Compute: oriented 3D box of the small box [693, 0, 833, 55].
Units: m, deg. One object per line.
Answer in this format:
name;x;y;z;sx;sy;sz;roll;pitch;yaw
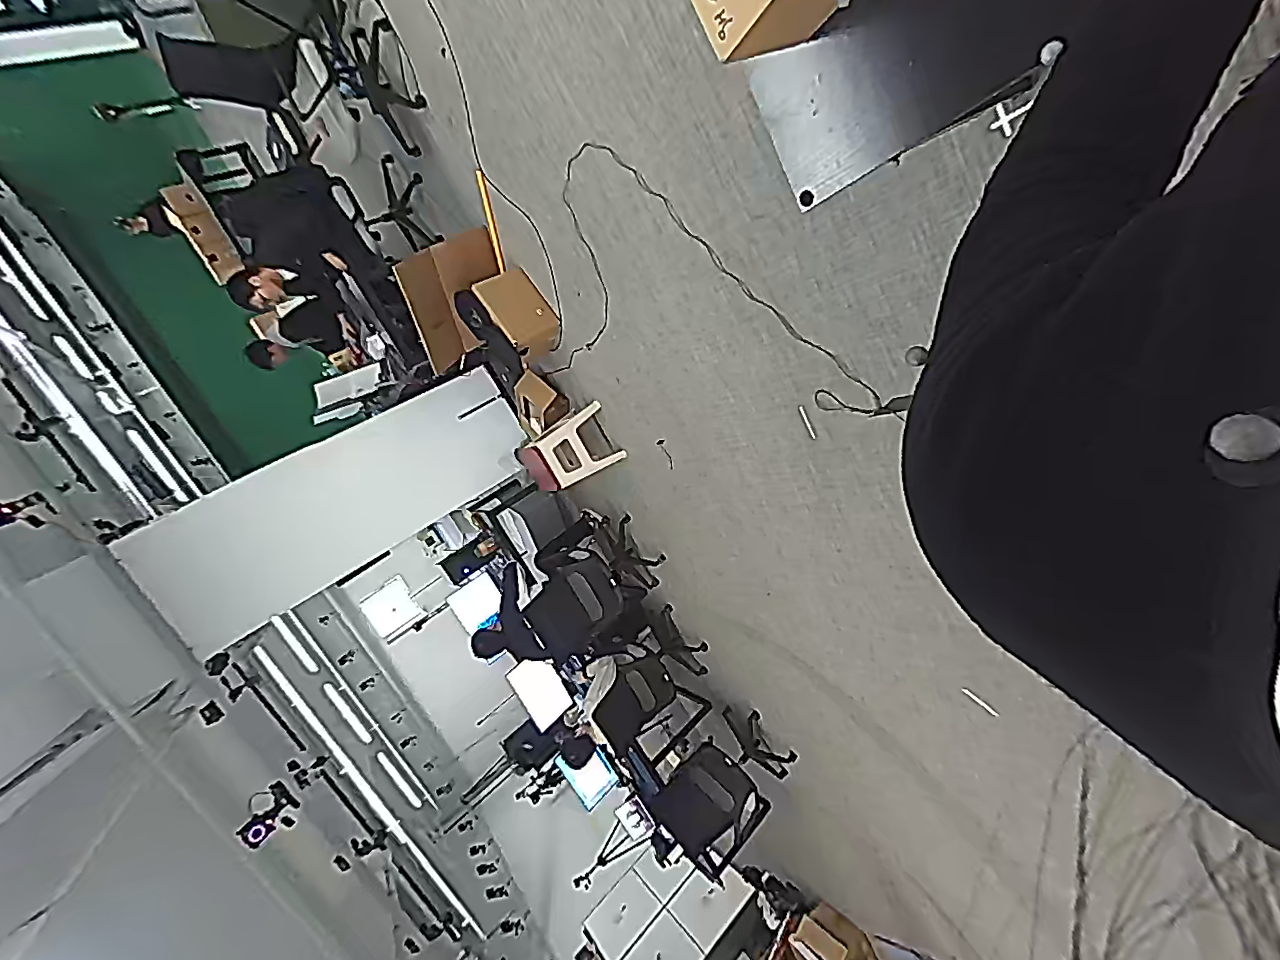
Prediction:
small box;0.152;-0.610;0.575;0.179;0.176;0.168;-11;111;59
